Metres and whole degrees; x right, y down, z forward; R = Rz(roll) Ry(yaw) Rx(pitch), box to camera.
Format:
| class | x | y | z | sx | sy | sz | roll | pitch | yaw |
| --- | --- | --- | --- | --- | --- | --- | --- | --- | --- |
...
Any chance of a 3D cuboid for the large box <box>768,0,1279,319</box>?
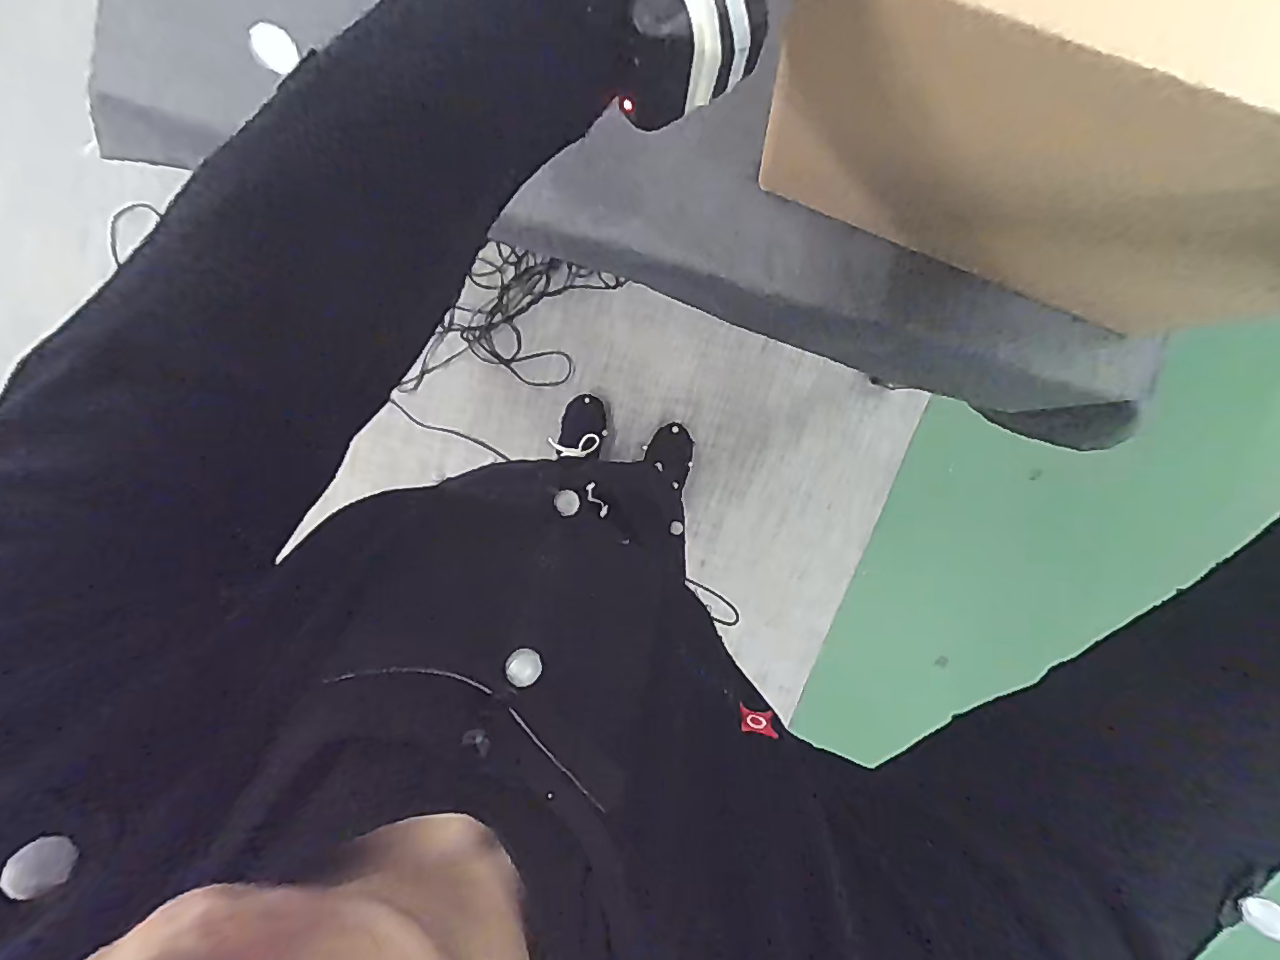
| class | x | y | z | sx | sy | sz | roll | pitch | yaw |
| --- | --- | --- | --- | --- | --- | --- | --- | --- | --- |
| large box | 0.345 | -0.344 | 0.364 | 0.408 | 0.320 | 0.320 | 23 | 102 | 3 |
